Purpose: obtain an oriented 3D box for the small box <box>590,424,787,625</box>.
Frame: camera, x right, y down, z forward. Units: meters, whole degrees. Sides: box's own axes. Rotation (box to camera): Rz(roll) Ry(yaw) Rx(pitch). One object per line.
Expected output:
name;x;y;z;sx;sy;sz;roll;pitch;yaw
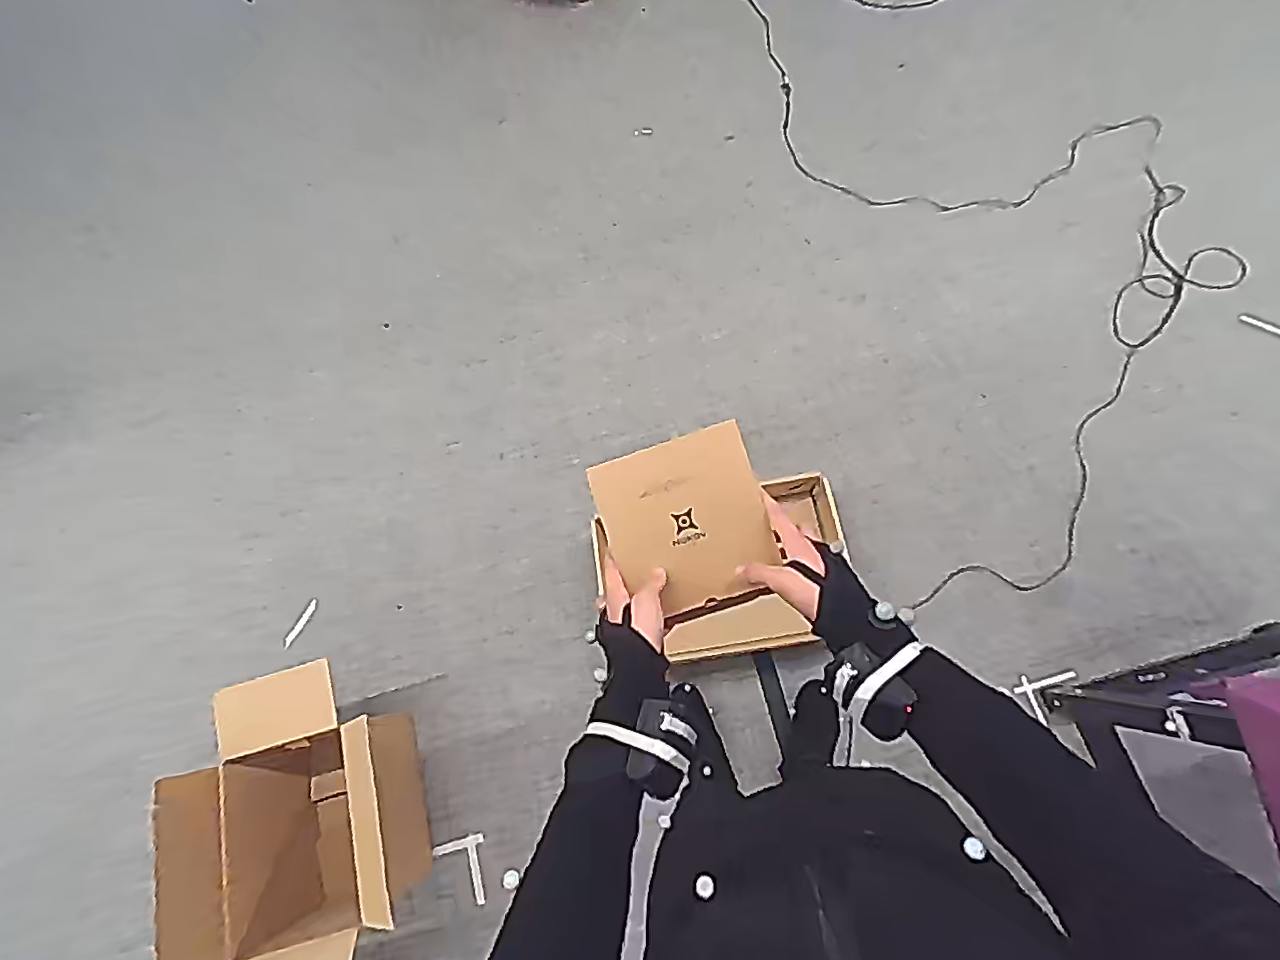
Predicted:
small box;0.056;0.044;0.634;0.168;0.176;0.179;-18;90;5
